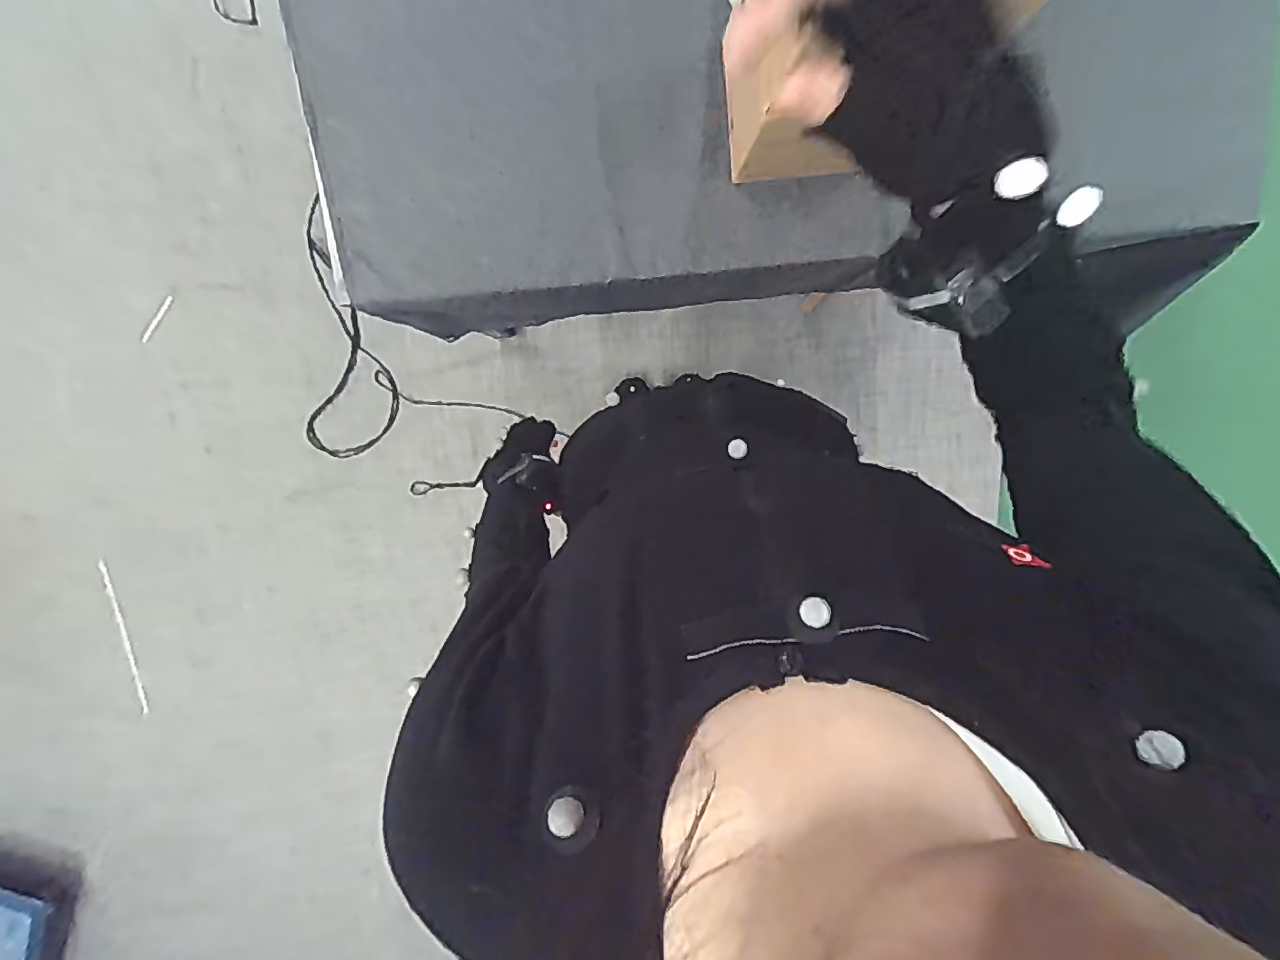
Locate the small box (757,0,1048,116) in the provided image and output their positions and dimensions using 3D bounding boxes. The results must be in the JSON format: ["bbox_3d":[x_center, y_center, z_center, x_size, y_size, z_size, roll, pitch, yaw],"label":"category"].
[{"bbox_3d":[0.201,-0.427,0.435,0.179,0.176,0.168,-6,99,0],"label":"small box"}]
